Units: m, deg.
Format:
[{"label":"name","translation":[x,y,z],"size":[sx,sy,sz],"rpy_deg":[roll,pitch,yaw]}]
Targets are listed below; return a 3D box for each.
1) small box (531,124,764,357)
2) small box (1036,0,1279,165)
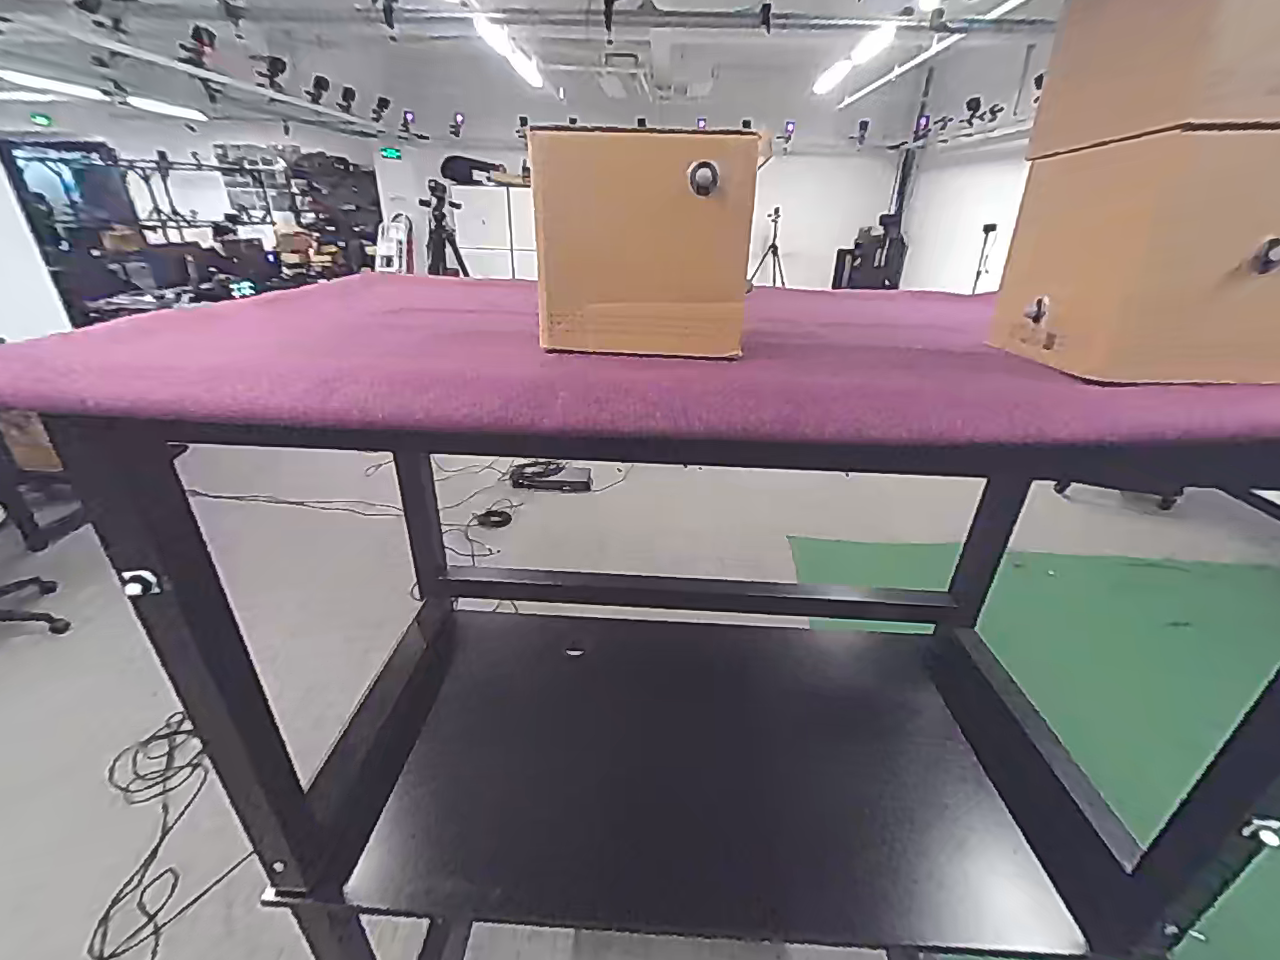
[{"label":"small box","translation":[0.009,-0.213,0.499],"size":[0.179,0.176,0.168],"rpy_deg":[4,25,3]},{"label":"small box","translation":[0.428,-0.328,0.377],"size":[0.168,0.176,0.179],"rpy_deg":[2,25,4]}]
